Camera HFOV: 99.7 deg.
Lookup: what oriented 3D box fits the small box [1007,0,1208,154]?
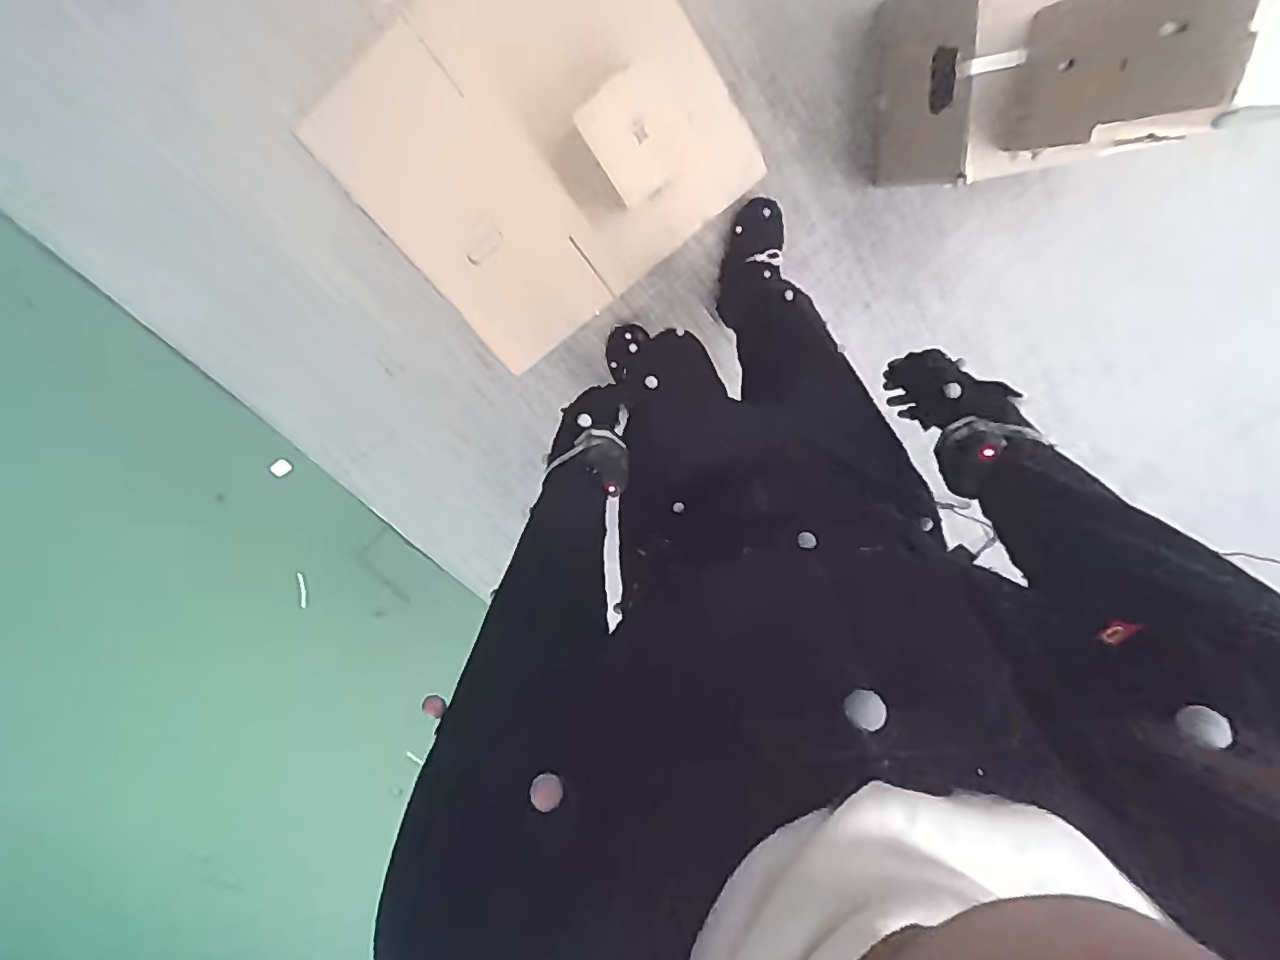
[{"bbox_3d":[0.643,-0.550,0.735,0.168,0.176,0.179,-4,116,-2],"label":"small box"}]

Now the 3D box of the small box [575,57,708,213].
[{"bbox_3d":[0.000,-0.615,0.992,0.168,0.176,0.179,-33,114,13],"label":"small box"}]

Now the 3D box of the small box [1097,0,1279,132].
[{"bbox_3d":[0.658,-0.490,0.586,0.179,0.176,0.168,-6,115,-2],"label":"small box"}]
